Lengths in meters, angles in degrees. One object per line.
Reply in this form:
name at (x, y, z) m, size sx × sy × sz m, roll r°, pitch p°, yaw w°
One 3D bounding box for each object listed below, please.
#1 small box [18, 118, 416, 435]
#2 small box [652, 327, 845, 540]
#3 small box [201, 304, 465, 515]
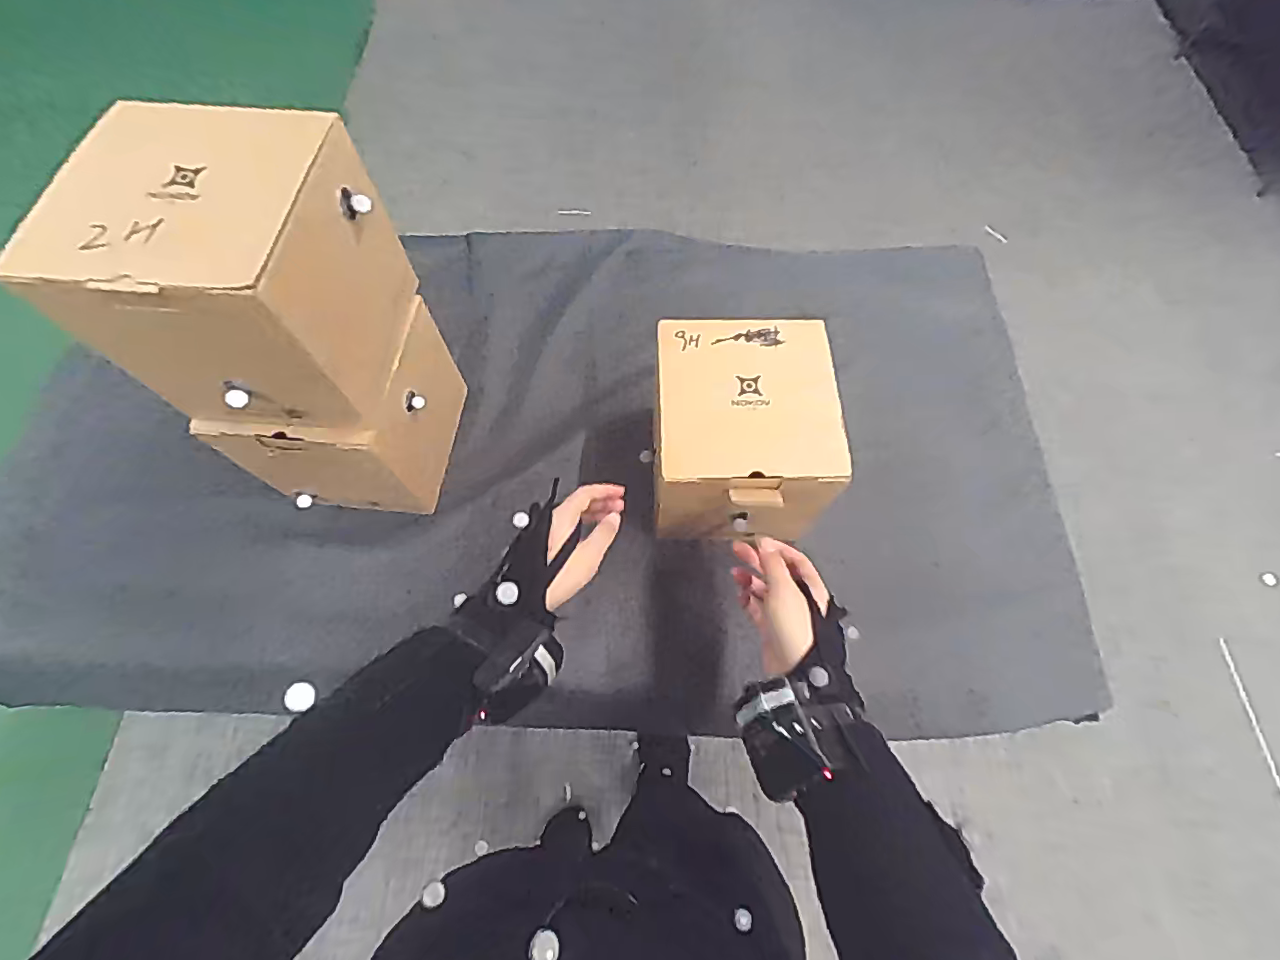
small box at (-0.306, -0.158, 0.446) m, size 0.168 × 0.176 × 0.179 m, roll 3°, pitch 65°, yaw 2°
small box at (0.098, -0.039, 0.576) m, size 0.168 × 0.176 × 0.179 m, roll 0°, pitch 66°, yaw -1°
small box at (-0.306, -0.073, 0.589) m, size 0.168 × 0.176 × 0.179 m, roll 5°, pitch 64°, yaw 2°
